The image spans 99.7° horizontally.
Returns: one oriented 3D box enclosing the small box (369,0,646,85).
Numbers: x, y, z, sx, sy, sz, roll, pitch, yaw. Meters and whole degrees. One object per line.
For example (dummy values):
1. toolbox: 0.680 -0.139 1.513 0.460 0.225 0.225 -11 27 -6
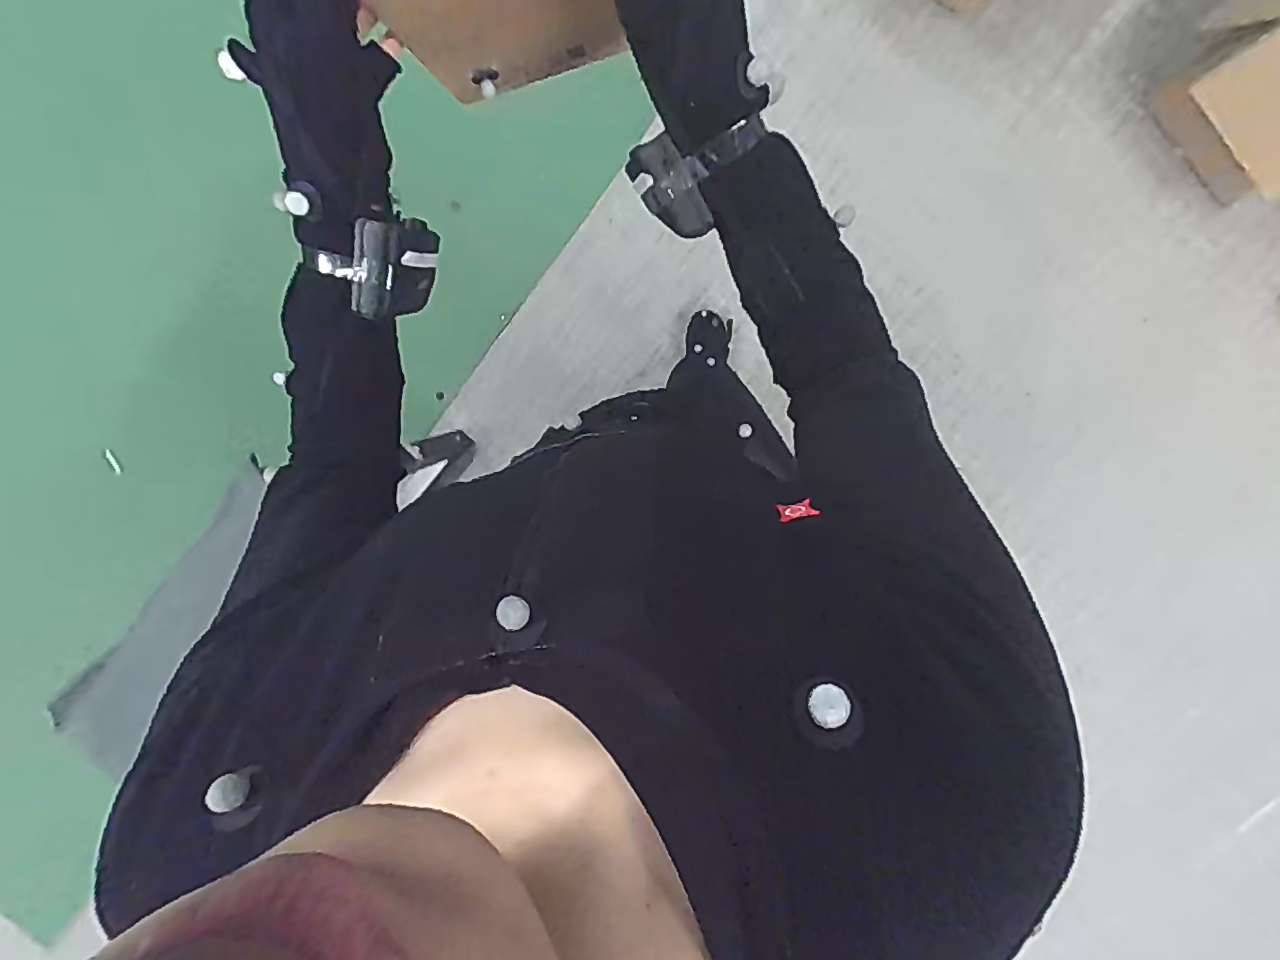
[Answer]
1. small box: -0.095 -0.387 0.337 0.168 0.176 0.179 -10 99 8
